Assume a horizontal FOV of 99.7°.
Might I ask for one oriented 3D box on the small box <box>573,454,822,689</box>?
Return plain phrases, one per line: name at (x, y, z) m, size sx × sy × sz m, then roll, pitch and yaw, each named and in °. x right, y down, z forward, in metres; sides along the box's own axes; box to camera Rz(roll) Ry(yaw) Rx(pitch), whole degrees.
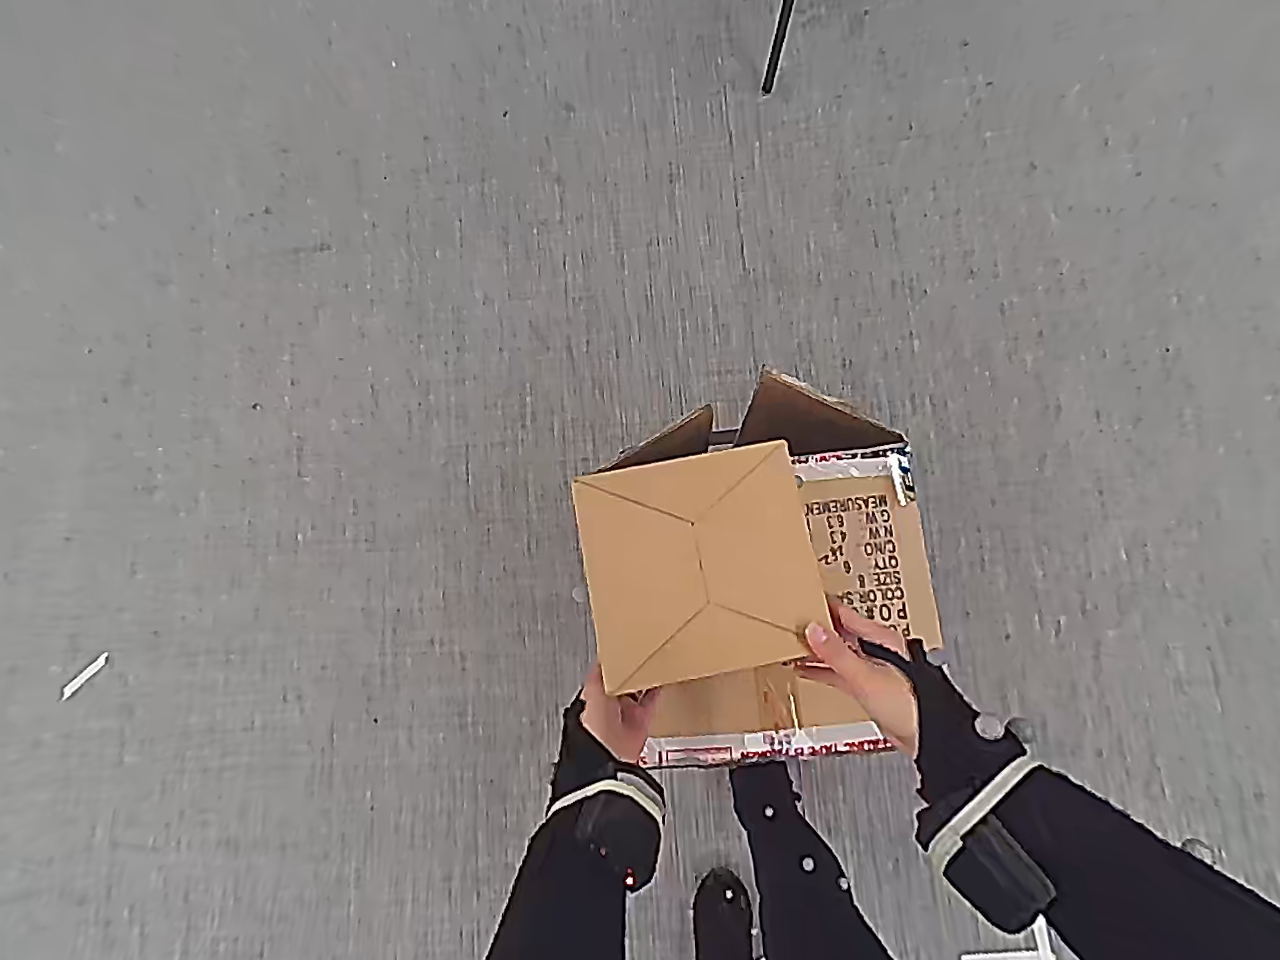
small box at (0.044, 0.081, 0.496) m, size 0.179 × 0.176 × 0.168 m, roll -10°, pitch 79°, yaw -4°
